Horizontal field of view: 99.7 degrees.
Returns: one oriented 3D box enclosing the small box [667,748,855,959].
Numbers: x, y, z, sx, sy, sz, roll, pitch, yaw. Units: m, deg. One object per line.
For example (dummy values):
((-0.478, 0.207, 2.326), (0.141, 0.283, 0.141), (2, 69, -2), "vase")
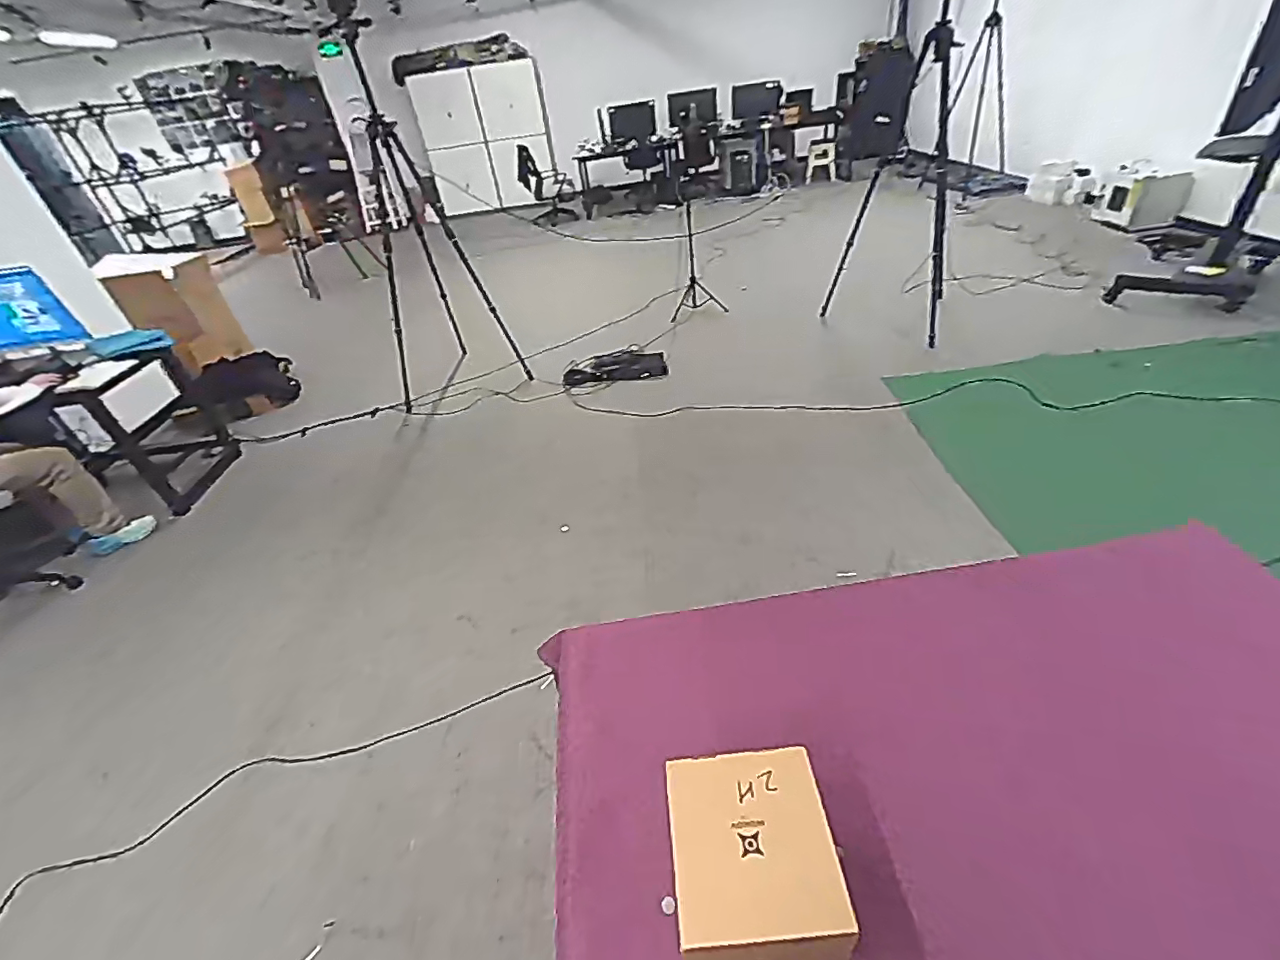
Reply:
((0.125, 0.434, 0.608), (0.168, 0.176, 0.179), (-7, 37, 2), "small box")
